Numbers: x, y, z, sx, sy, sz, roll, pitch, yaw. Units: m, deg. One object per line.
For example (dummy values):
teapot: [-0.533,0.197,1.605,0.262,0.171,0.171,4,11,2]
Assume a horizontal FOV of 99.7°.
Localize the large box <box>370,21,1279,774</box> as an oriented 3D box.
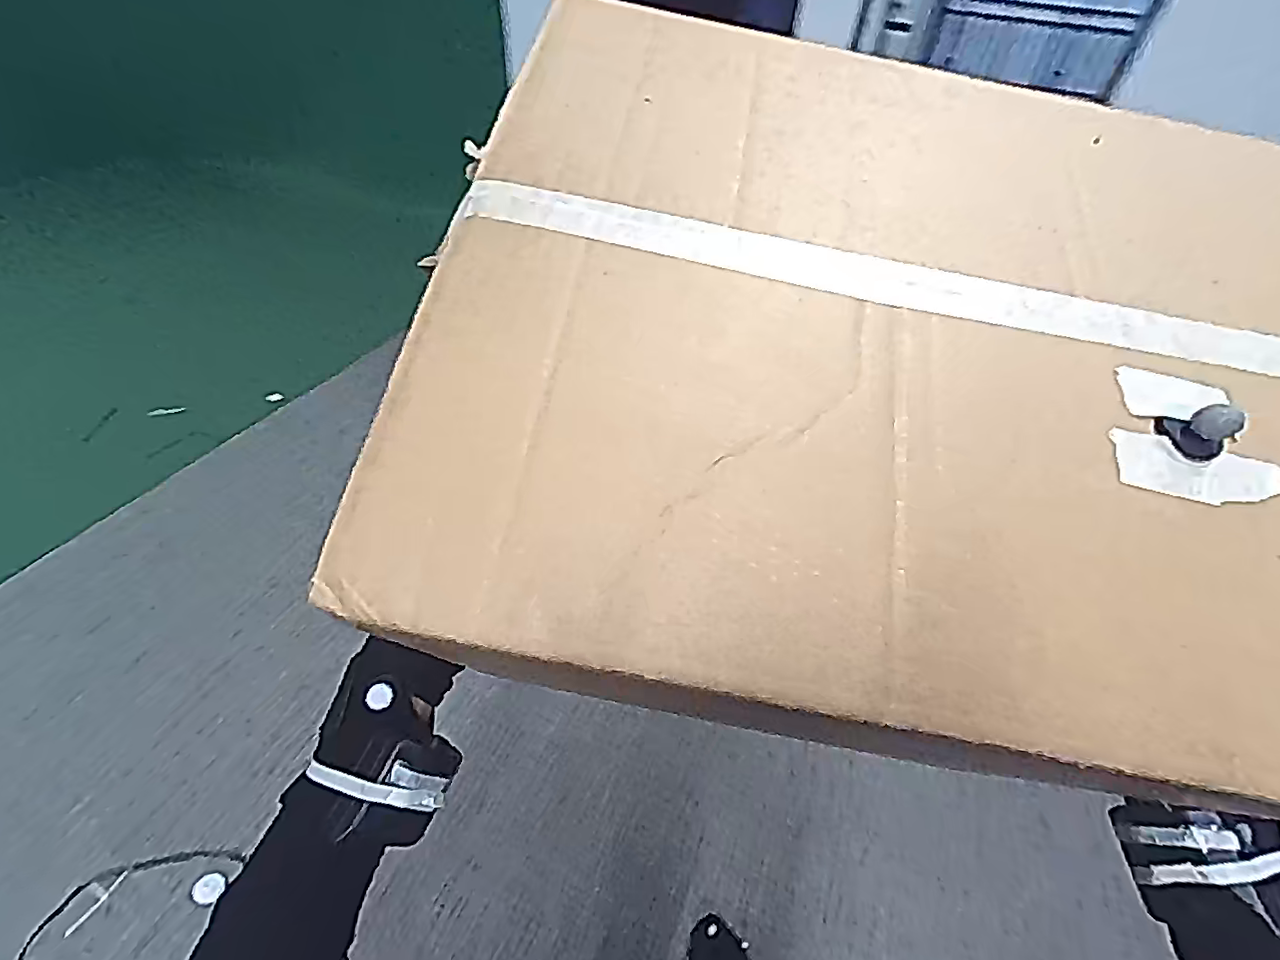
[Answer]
large box: [0.116,-0.011,0.365,0.408,0.320,0.320,11,67,-2]
